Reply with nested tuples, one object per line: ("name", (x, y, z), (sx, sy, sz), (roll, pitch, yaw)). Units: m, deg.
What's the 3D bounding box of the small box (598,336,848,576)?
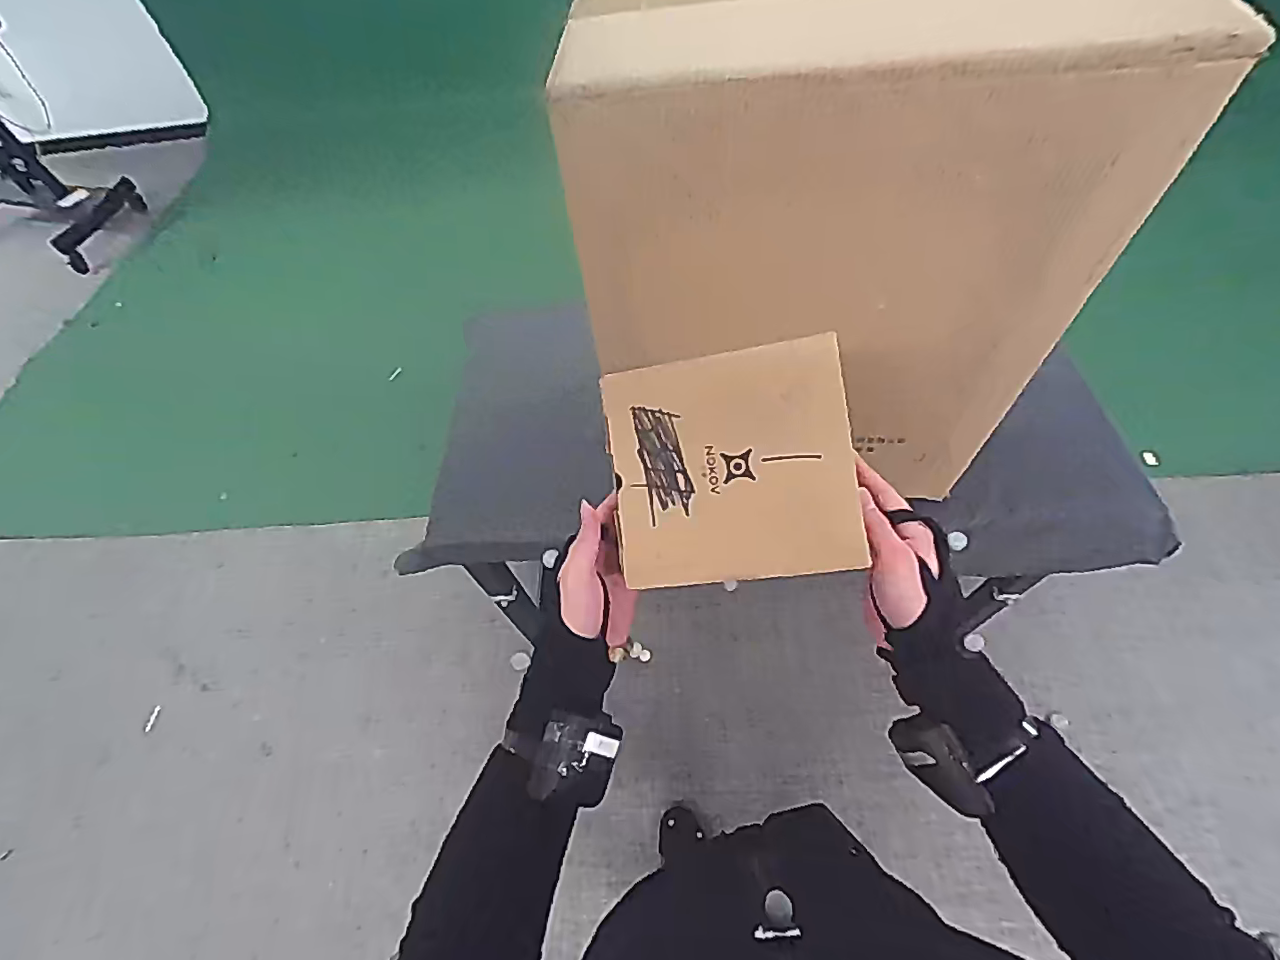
("small box", (0.080, -0.014, 0.471), (0.179, 0.176, 0.168), (-5, 91, 18))
